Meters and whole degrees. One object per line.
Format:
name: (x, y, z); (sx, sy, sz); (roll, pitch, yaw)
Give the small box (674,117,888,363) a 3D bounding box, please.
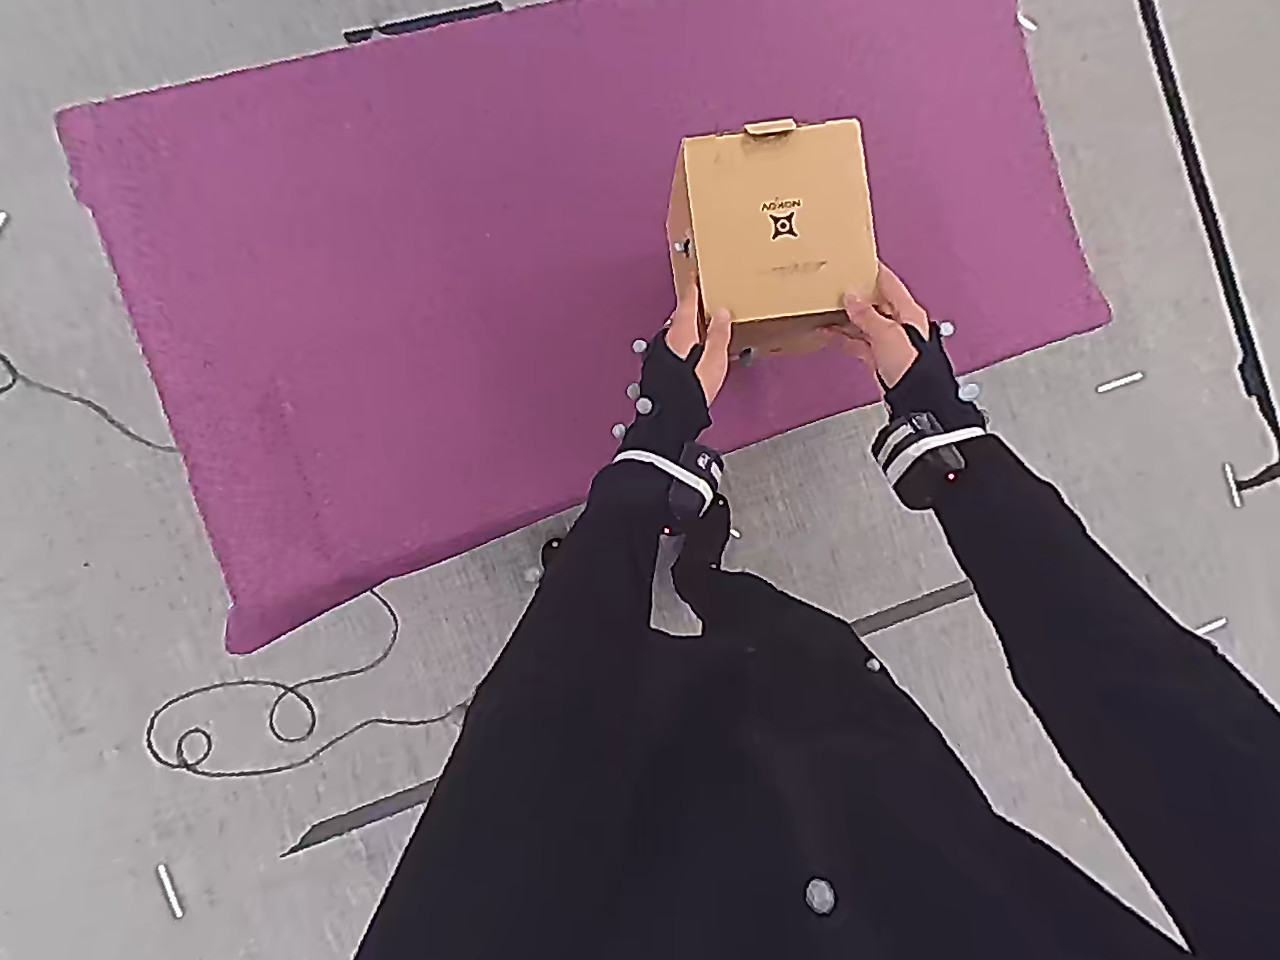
small box: (0.131, -0.233, 0.563); (0.168, 0.176, 0.179); (-6, 90, -1)
